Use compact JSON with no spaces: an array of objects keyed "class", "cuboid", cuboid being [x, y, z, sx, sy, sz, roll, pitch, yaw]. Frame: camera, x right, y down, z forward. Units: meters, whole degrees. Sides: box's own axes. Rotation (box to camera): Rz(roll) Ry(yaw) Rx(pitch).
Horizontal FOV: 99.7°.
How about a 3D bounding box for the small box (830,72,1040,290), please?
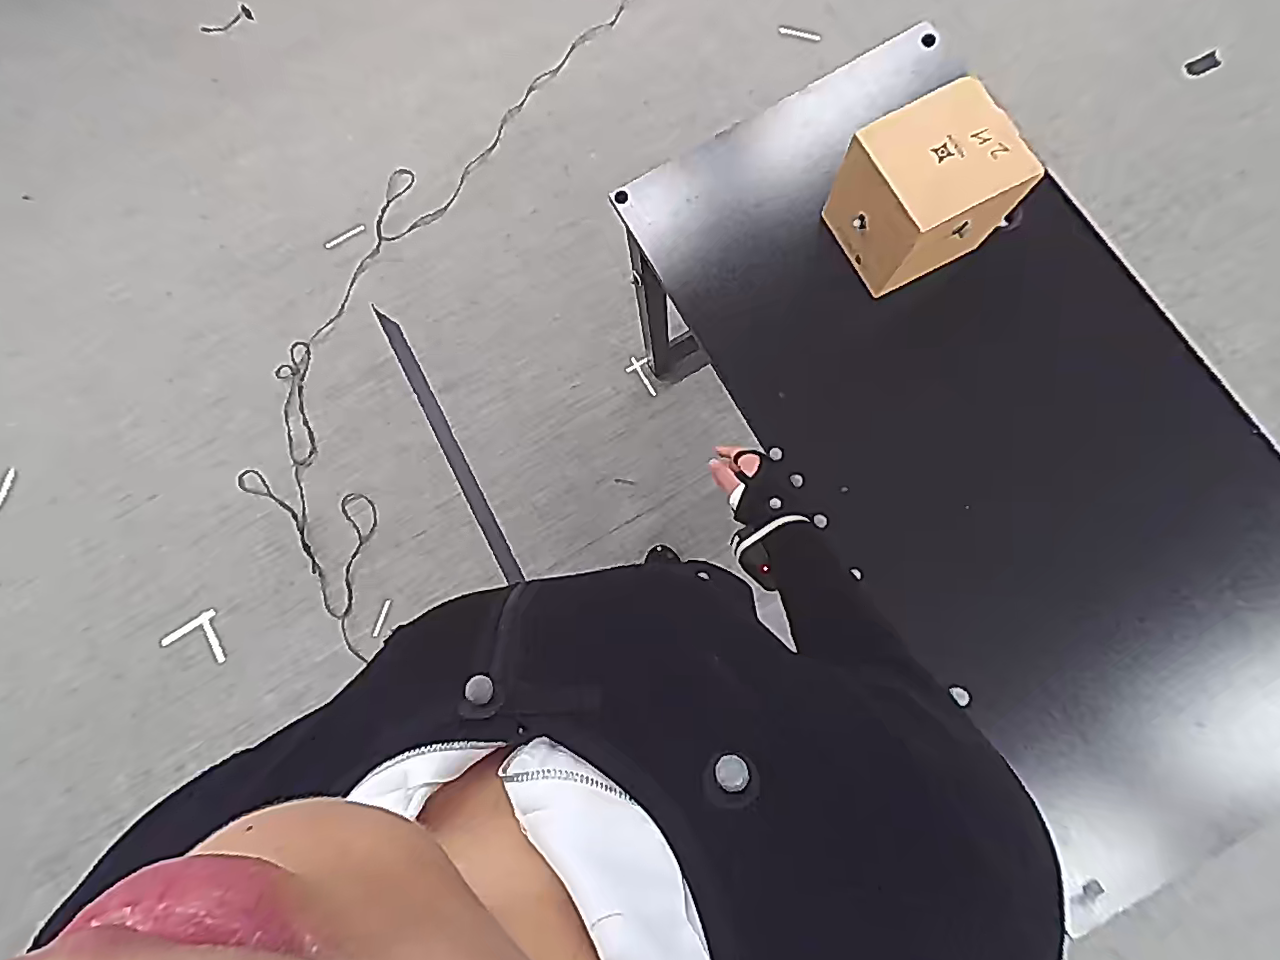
[{"class":"small box","cuboid":[0.388,-0.401,0.756,0.179,0.176,0.168,-27,80,-1]}]
